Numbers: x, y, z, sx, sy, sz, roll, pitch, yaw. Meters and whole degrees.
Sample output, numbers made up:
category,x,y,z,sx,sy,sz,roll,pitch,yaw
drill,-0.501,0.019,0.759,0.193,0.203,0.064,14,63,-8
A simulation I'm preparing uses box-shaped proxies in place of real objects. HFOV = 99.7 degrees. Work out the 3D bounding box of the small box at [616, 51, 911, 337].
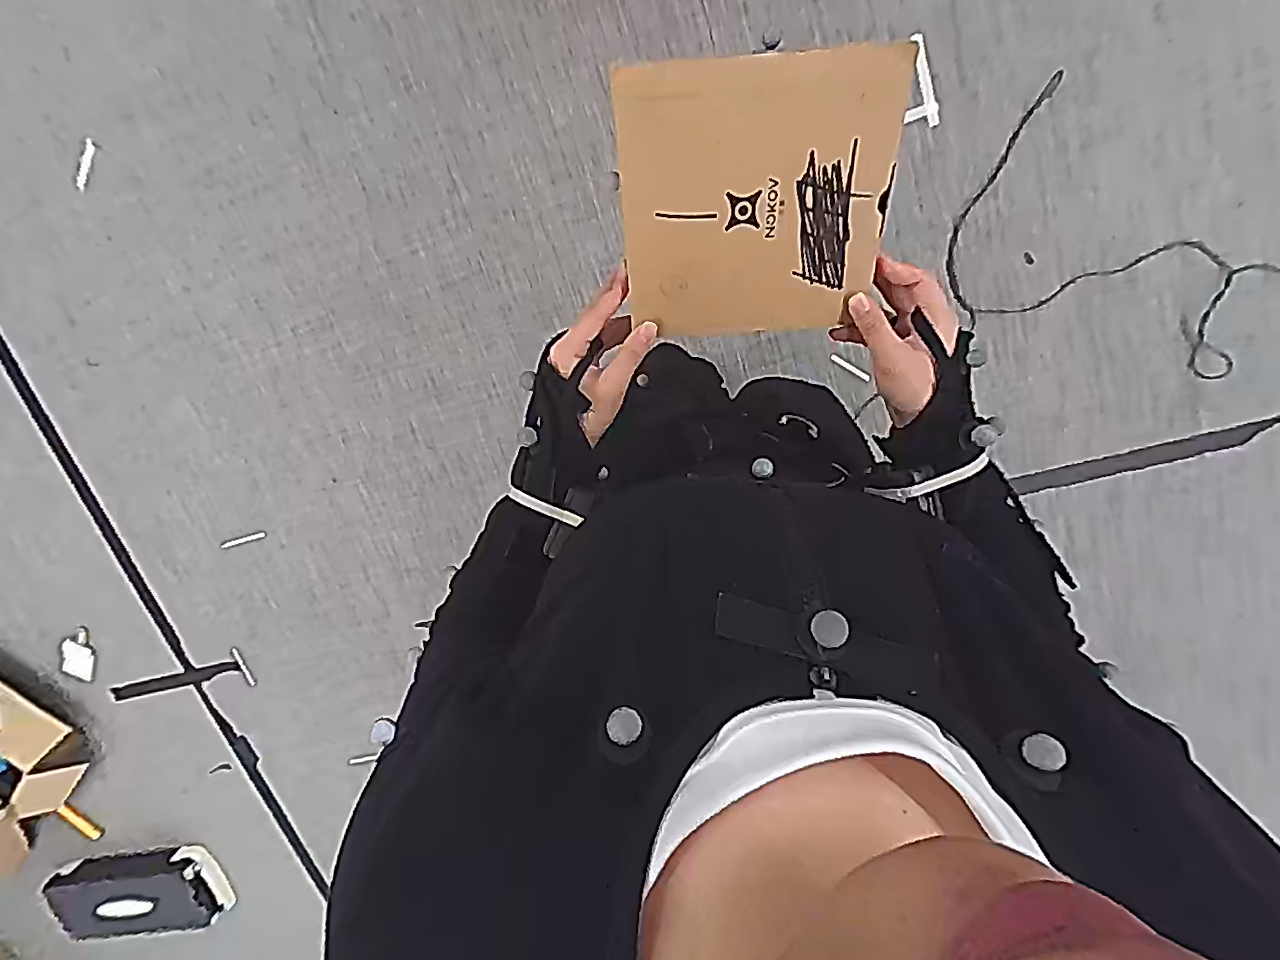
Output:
category,x,y,z,sx,sy,sz,roll,pitch,yaw
small box,0.074,-0.227,0.423,0.179,0.176,0.168,-4,127,2
